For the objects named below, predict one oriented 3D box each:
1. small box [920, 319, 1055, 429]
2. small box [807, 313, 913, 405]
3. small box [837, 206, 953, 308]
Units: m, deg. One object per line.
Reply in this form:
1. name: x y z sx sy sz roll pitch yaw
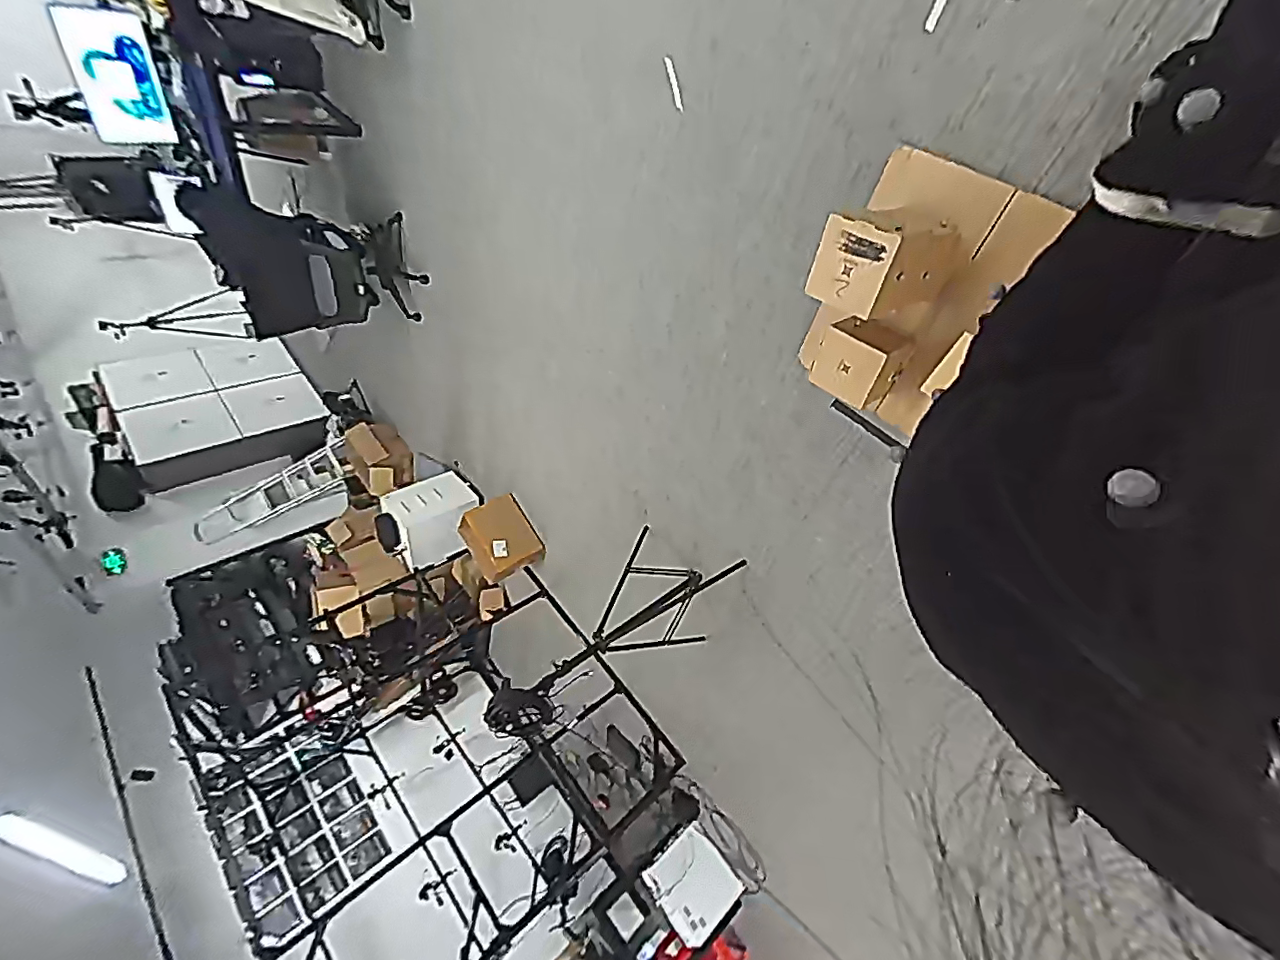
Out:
1. small box: 0.794 -0.249 1.236 0.179 0.176 0.168 45 139 22
2. small box: 0.586 -0.330 1.444 0.179 0.176 0.168 39 138 28
3. small box: 0.610 -0.537 1.287 0.168 0.176 0.179 40 138 29
